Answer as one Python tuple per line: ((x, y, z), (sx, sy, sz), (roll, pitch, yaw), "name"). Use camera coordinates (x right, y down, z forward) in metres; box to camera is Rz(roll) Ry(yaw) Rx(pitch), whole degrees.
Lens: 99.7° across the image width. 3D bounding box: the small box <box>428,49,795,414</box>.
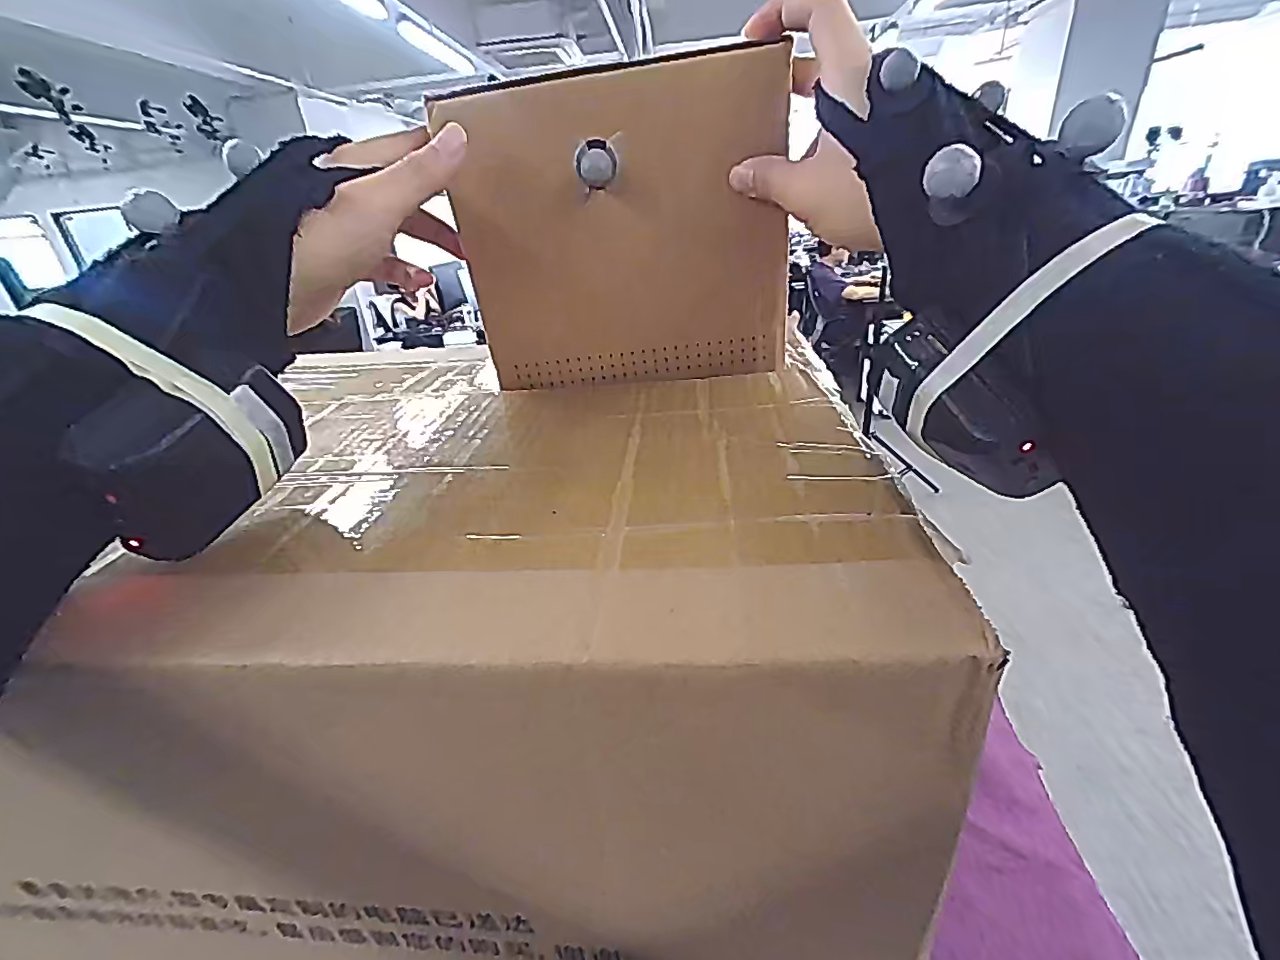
((-0.004, -0.158, 0.359), (0.179, 0.176, 0.168), (-6, 32, 5), "small box")
